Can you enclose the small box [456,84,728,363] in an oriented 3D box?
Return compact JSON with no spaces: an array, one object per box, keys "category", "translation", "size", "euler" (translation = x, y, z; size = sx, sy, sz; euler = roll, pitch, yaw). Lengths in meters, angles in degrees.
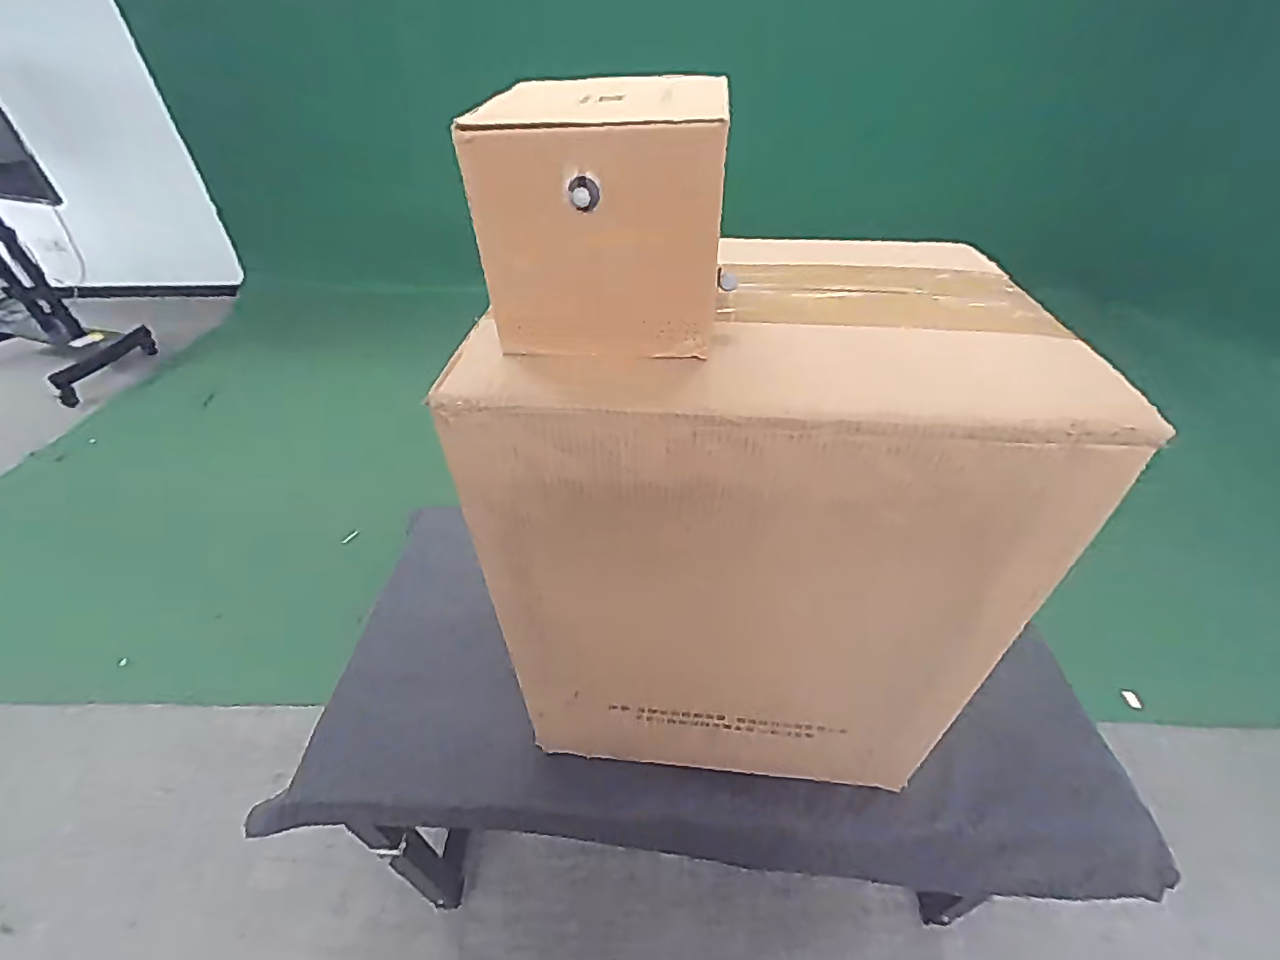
[{"category":"small box","translation":[-0.023,-0.211,0.447],"size":[0.179,0.176,0.168],"euler":[4,45,4]}]
